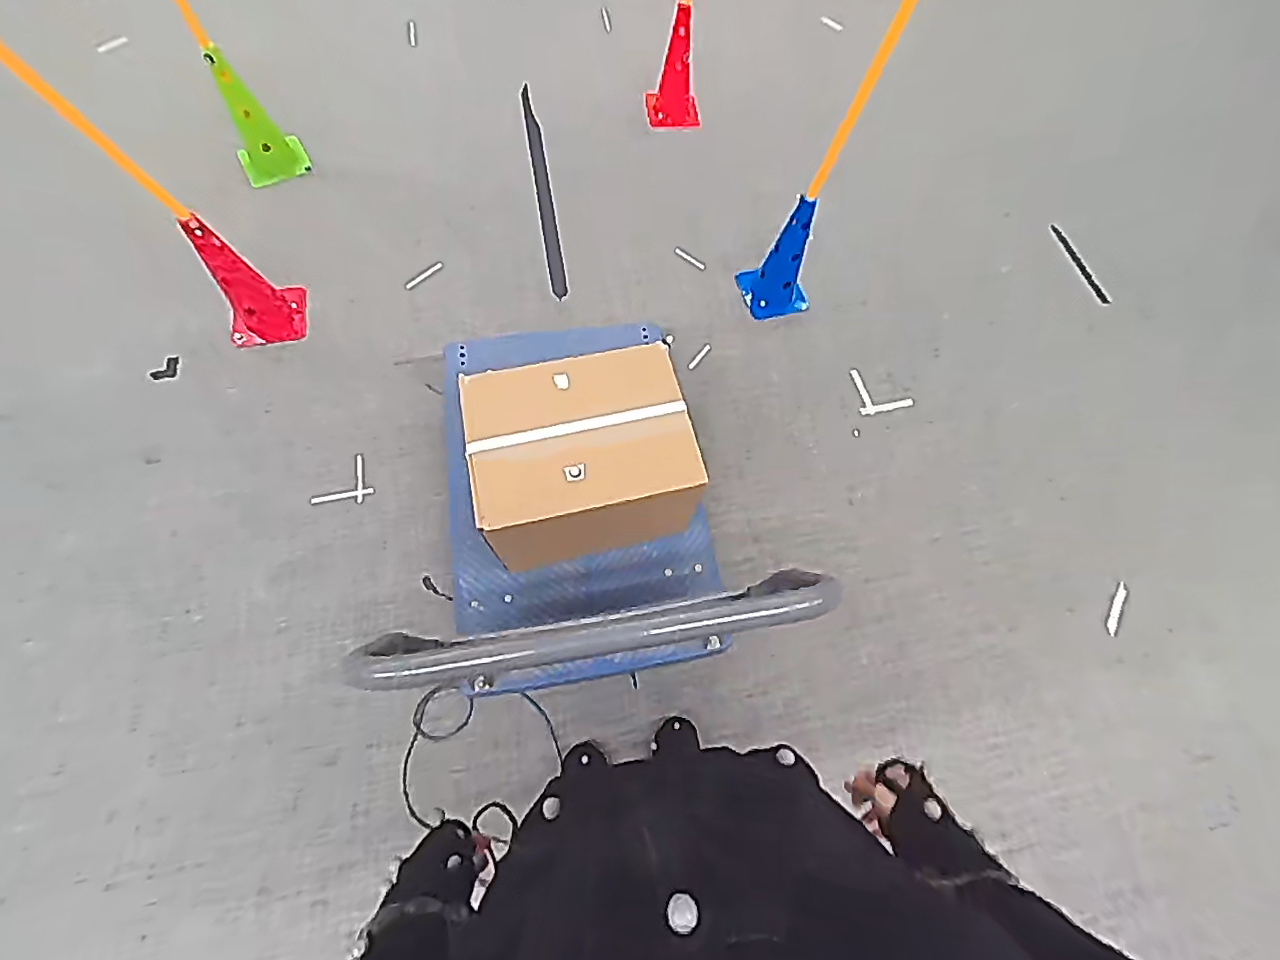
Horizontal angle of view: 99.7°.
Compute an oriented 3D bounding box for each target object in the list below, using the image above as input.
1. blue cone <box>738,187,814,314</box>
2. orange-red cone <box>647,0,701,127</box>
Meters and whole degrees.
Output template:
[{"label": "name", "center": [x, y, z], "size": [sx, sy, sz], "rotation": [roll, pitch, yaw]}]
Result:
[{"label": "blue cone", "center": [0.444, -0.692, 1.622], "size": [0.193, 0.380, 0.192], "rotation": [-13, 67, -10]}, {"label": "orange-red cone", "center": [0.143, -1.496, 1.927], "size": [0.199, 0.360, 0.198], "rotation": [-2, 68, -6]}]
